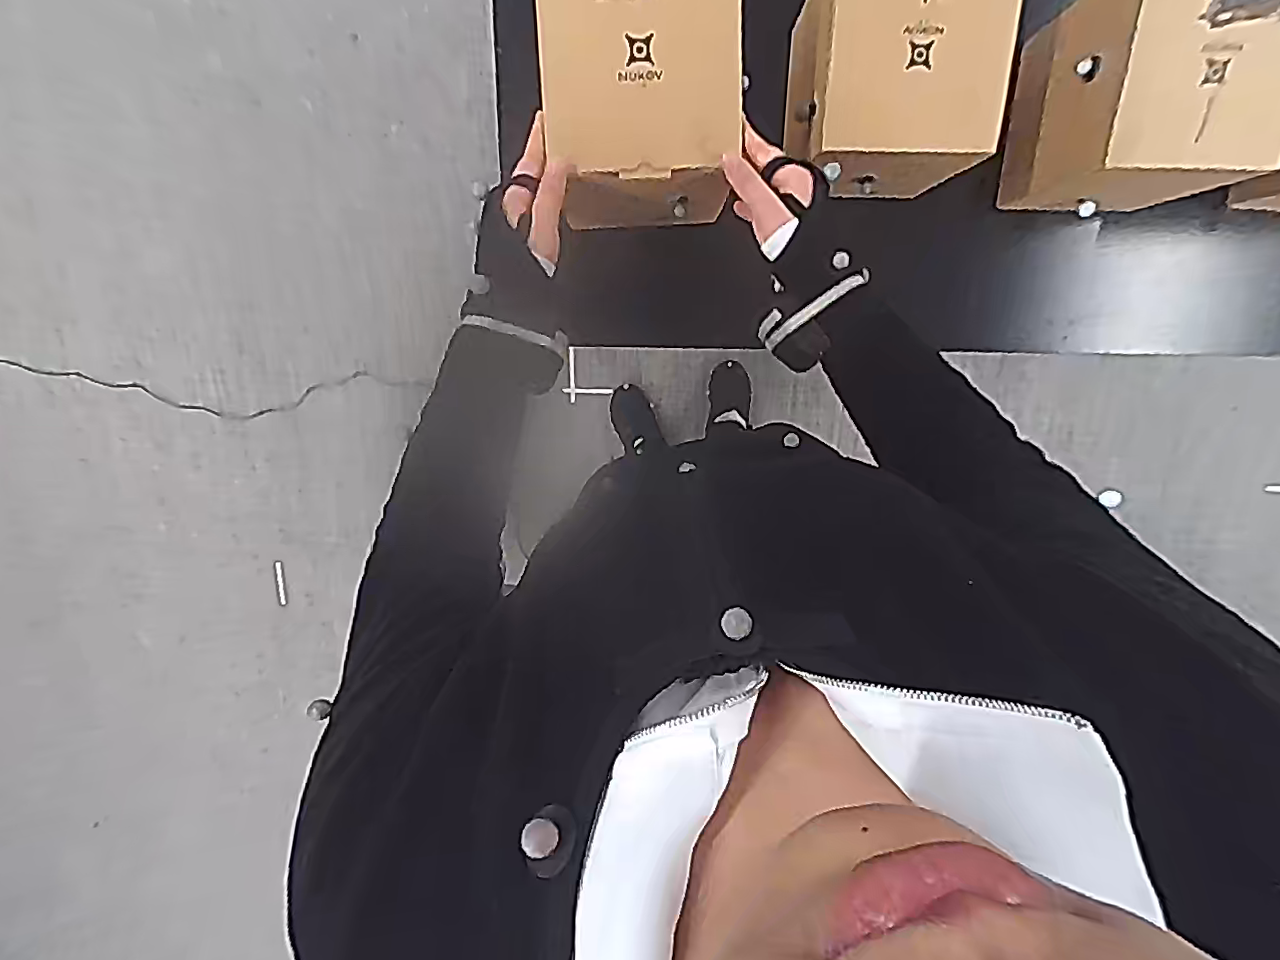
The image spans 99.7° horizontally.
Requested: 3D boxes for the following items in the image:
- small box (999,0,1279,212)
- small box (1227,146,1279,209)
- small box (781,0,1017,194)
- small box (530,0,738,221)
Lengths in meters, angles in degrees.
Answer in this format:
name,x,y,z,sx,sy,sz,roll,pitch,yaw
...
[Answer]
name,x,y,z,sx,sy,sz,roll,pitch,yaw
small box,0.515,-0.397,0.565,0.168,0.176,0.179,1,105,1
small box,0.797,-0.388,0.563,0.179,0.176,0.168,4,104,1
small box,0.251,-0.412,0.564,0.168,0.176,0.179,1,104,0
small box,-0.003,-0.354,0.508,0.168,0.176,0.179,-2,101,0
